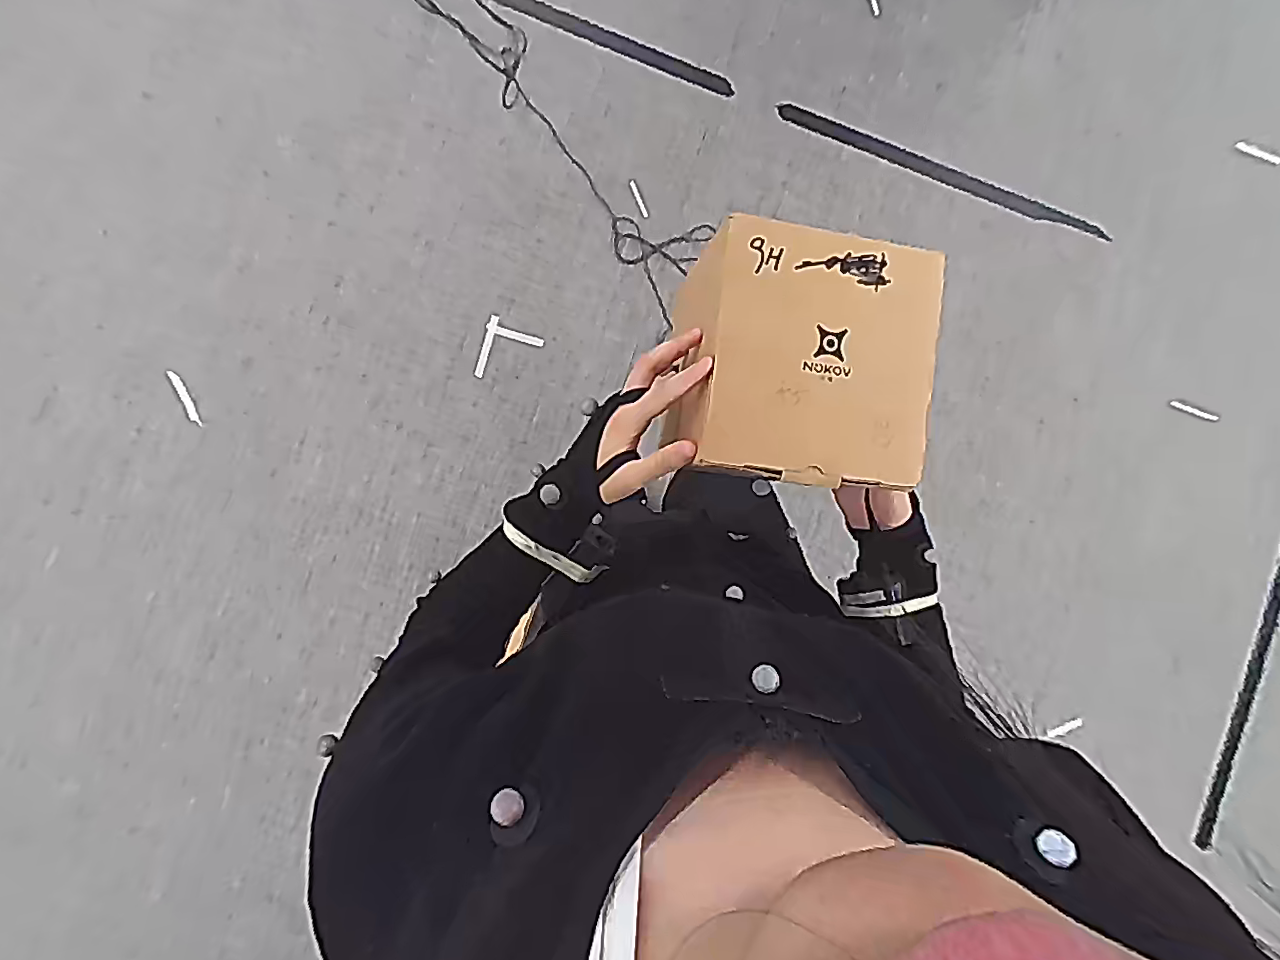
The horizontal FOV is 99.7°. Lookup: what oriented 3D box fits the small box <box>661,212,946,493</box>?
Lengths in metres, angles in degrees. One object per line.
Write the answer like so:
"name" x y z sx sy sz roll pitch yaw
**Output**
"small box" 0.119 -0.090 0.459 0.168 0.176 0.179 7 91 -9
